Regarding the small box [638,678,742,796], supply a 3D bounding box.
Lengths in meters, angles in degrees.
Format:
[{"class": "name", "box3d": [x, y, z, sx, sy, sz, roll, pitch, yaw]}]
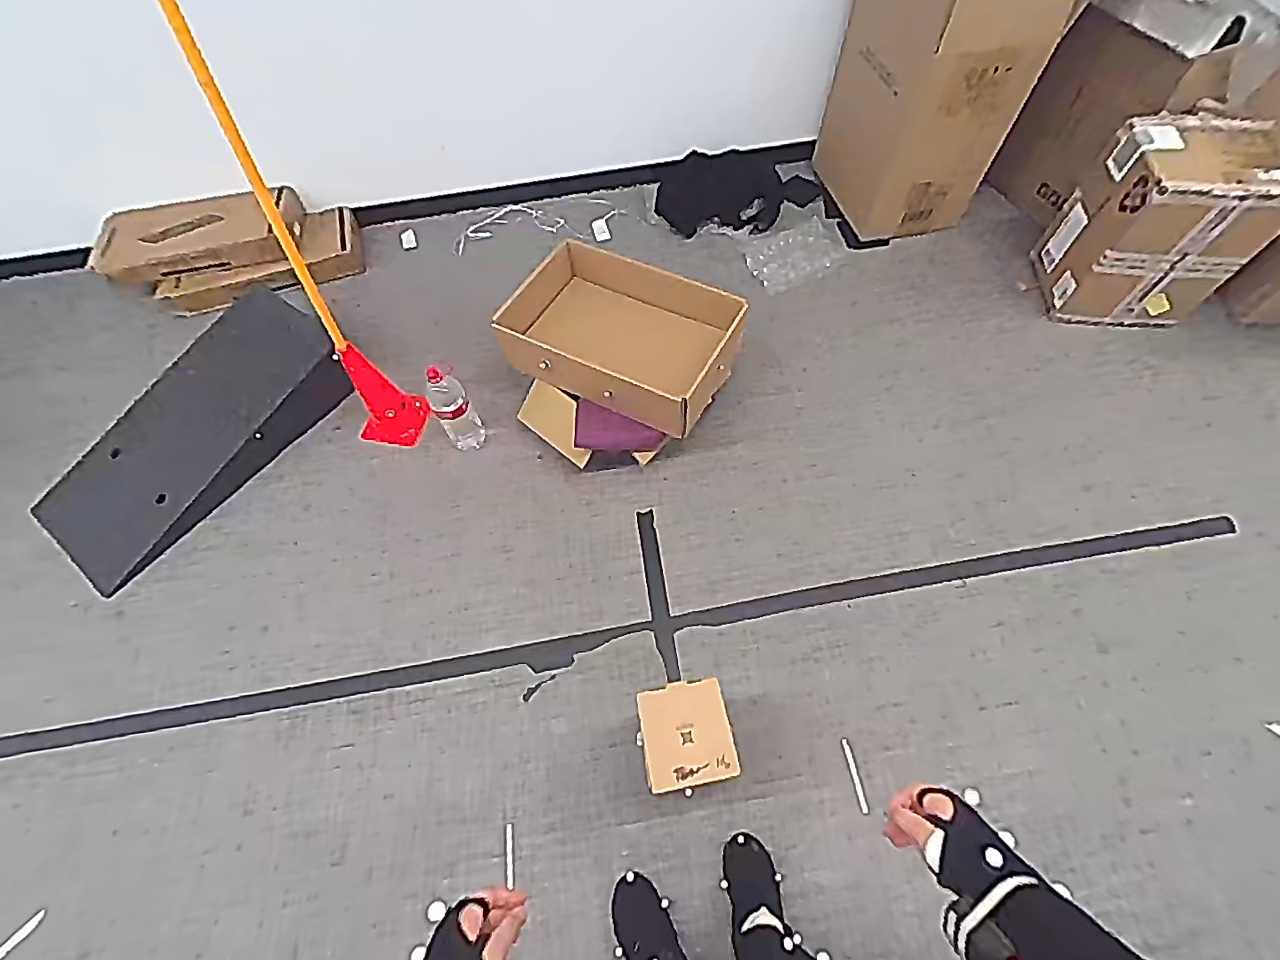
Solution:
[{"class": "small box", "box3d": [0.093, 0.517, 1.080, 0.168, 0.176, 0.179, -11, 59, -3]}]
